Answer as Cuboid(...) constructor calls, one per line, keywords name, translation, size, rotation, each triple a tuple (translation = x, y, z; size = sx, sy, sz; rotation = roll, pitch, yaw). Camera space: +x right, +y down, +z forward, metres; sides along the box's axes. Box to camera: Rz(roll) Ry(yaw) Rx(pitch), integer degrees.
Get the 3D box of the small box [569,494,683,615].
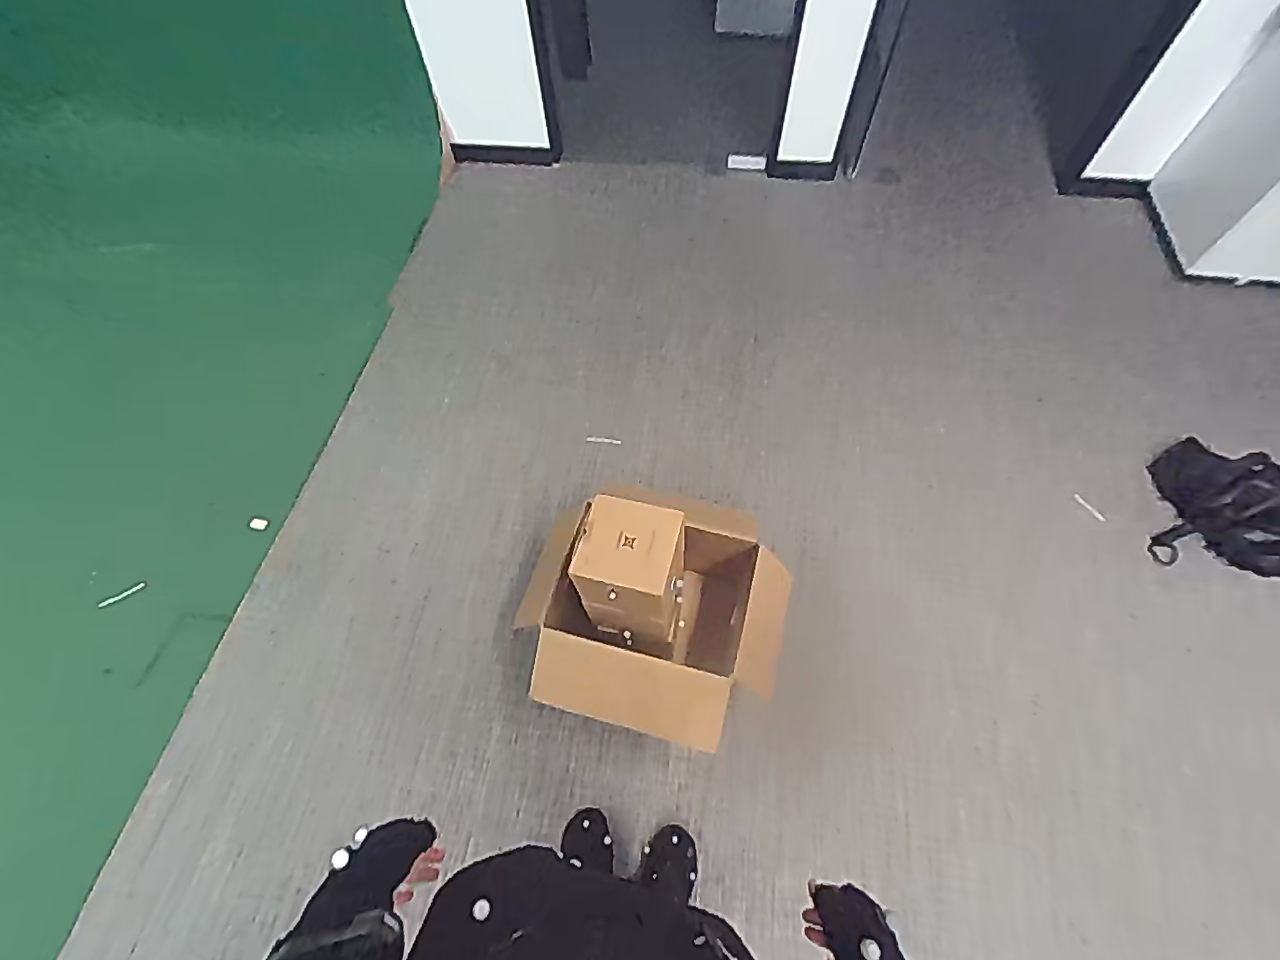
Cuboid(name="small box", translation=(-0.018, 0.150, 1.050), size=(0.179, 0.176, 0.168), rotation=(11, 63, 10))
